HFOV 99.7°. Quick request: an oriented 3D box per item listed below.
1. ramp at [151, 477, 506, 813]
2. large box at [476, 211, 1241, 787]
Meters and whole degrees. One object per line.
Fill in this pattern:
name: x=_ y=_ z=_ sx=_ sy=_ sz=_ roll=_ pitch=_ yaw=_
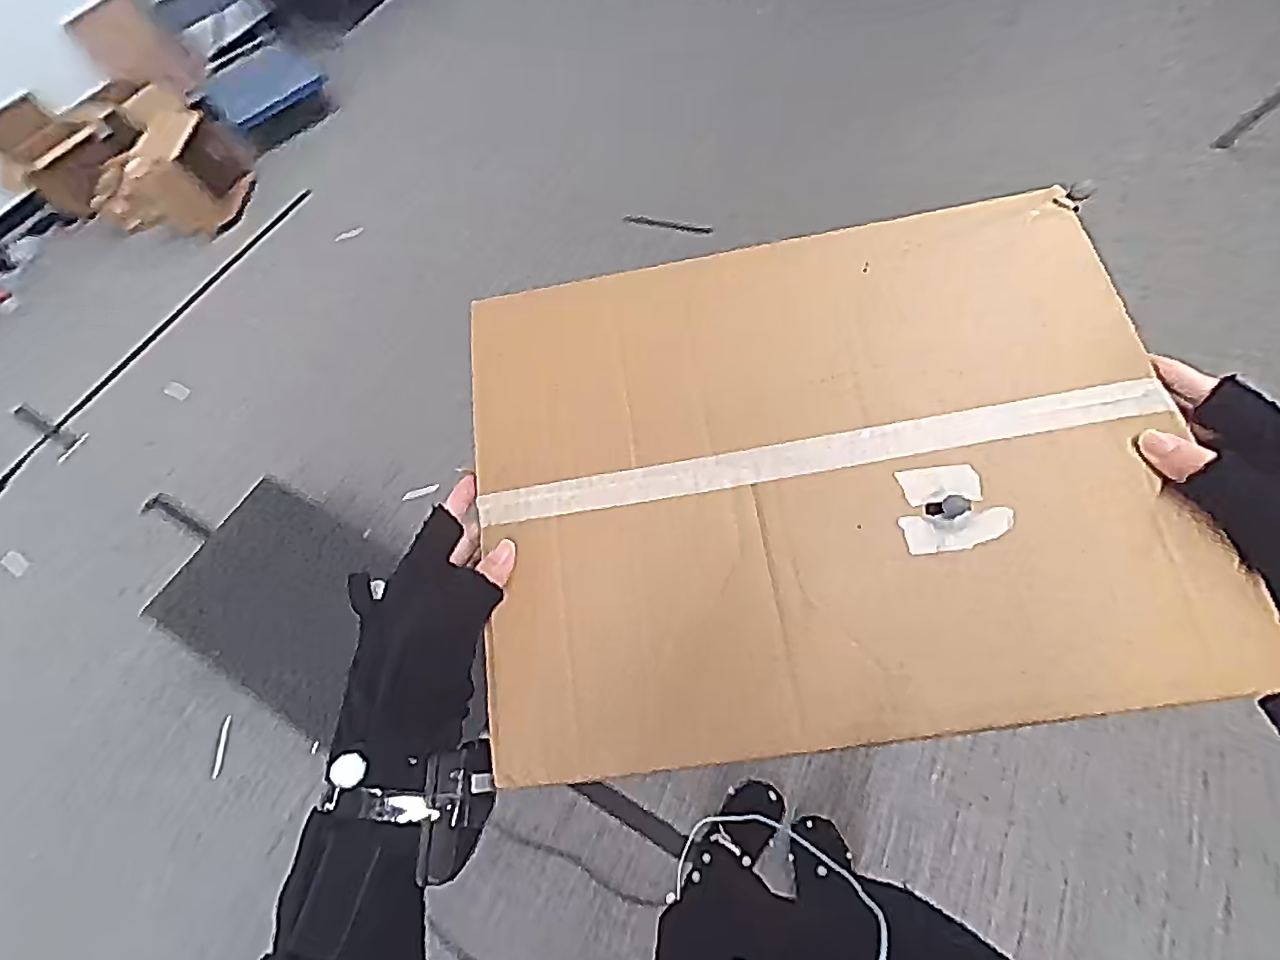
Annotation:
ramp: x=-0.830 y=0.400 z=1.500 sx=0.991 sy=0.206 sz=0.509 roll=22 pitch=68 yaw=21
large box: x=0.112 y=0.037 z=0.479 sx=0.408 sy=0.320 sz=0.320 roll=-11 pitch=72 yaw=3
